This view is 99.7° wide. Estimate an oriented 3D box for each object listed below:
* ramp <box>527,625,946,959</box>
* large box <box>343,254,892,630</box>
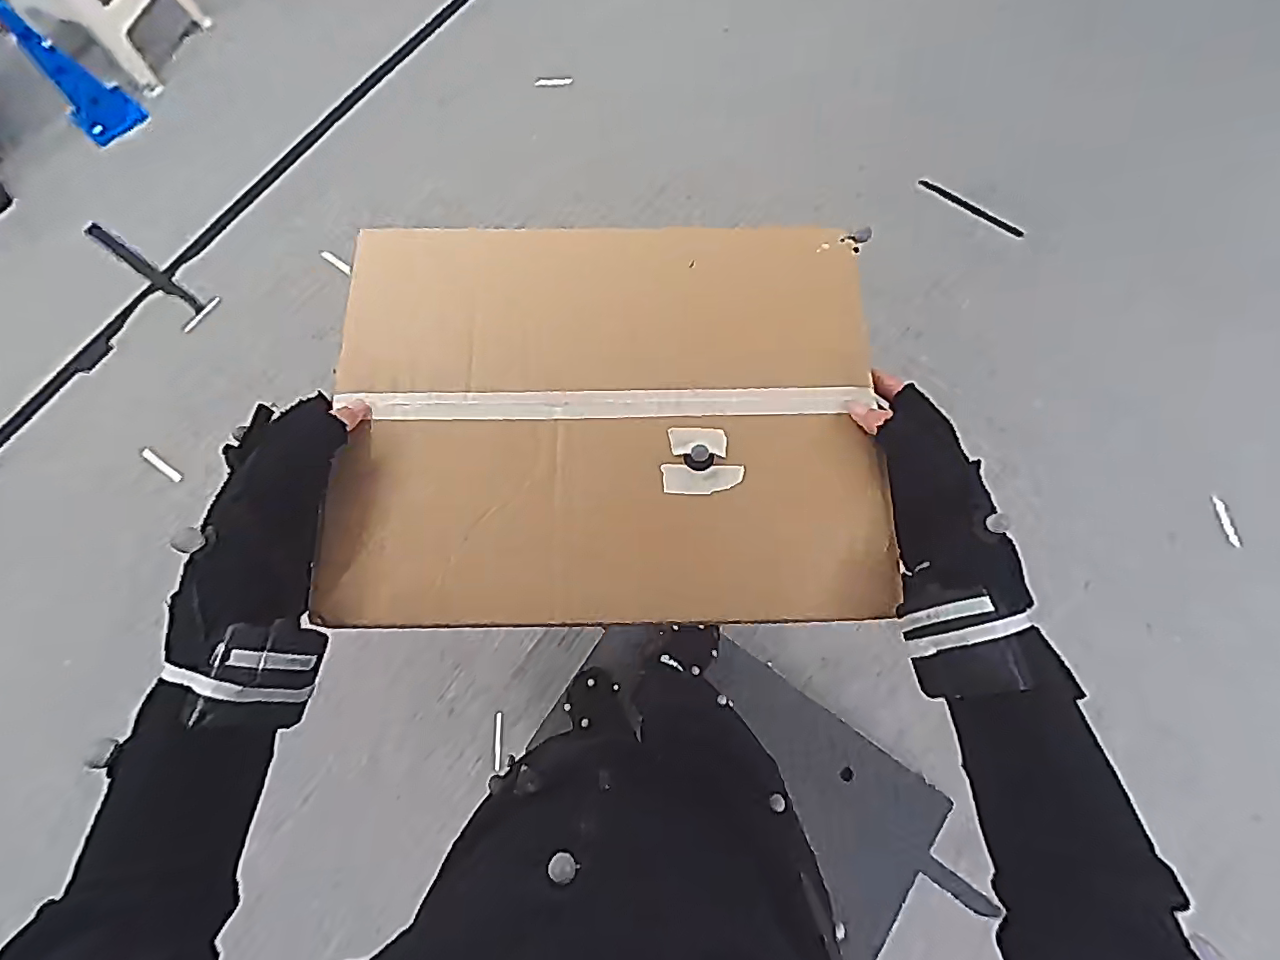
[{"bbox_3d":[0.267,0.728,1.337,0.991,0.206,0.509,32,77,7],"label":"ramp"},{"bbox_3d":[-0.020,-0.007,0.569,0.408,0.320,0.320,0,75,-1],"label":"large box"}]
